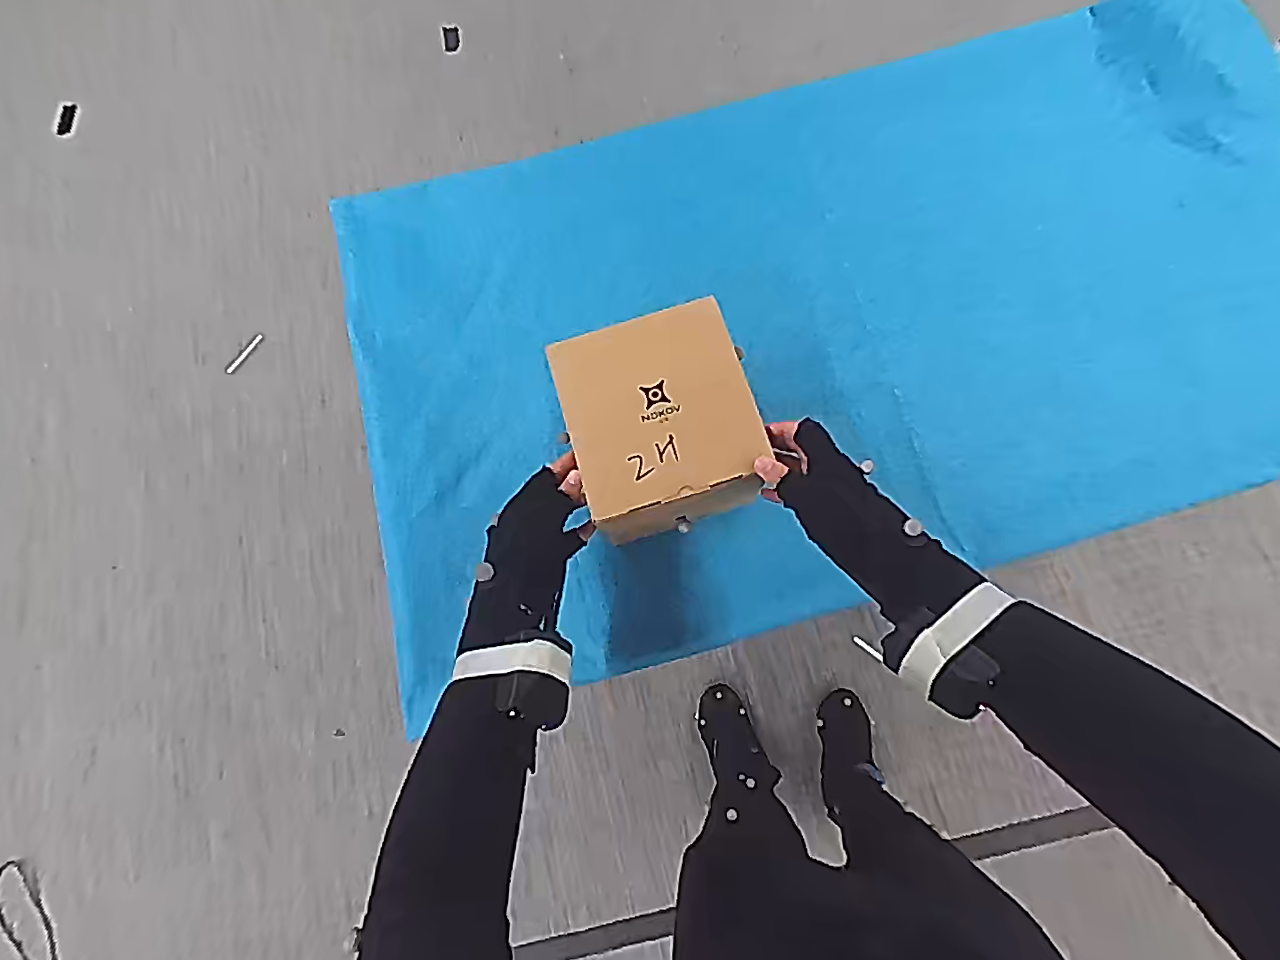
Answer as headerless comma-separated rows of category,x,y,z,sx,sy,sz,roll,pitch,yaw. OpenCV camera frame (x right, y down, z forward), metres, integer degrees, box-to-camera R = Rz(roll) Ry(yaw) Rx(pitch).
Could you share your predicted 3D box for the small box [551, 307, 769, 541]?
small box,0.019,-0.044,0.558,0.168,0.176,0.179,-14,79,2
